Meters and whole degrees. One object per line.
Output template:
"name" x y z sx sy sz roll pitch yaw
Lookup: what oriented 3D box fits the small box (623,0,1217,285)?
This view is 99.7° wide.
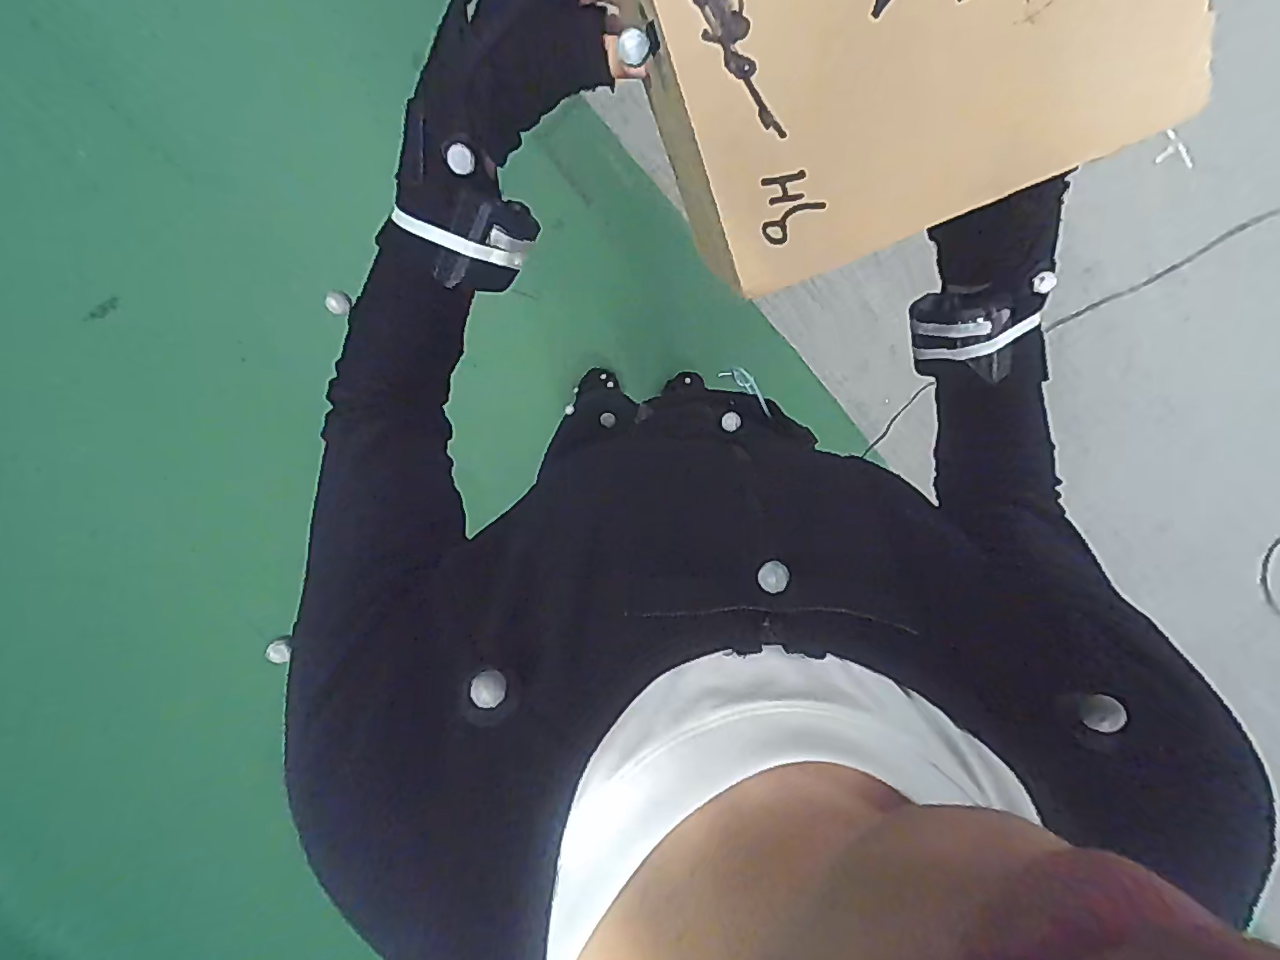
"small box" 0.094 -0.209 0.243 0.179 0.176 0.168 -19 115 9
